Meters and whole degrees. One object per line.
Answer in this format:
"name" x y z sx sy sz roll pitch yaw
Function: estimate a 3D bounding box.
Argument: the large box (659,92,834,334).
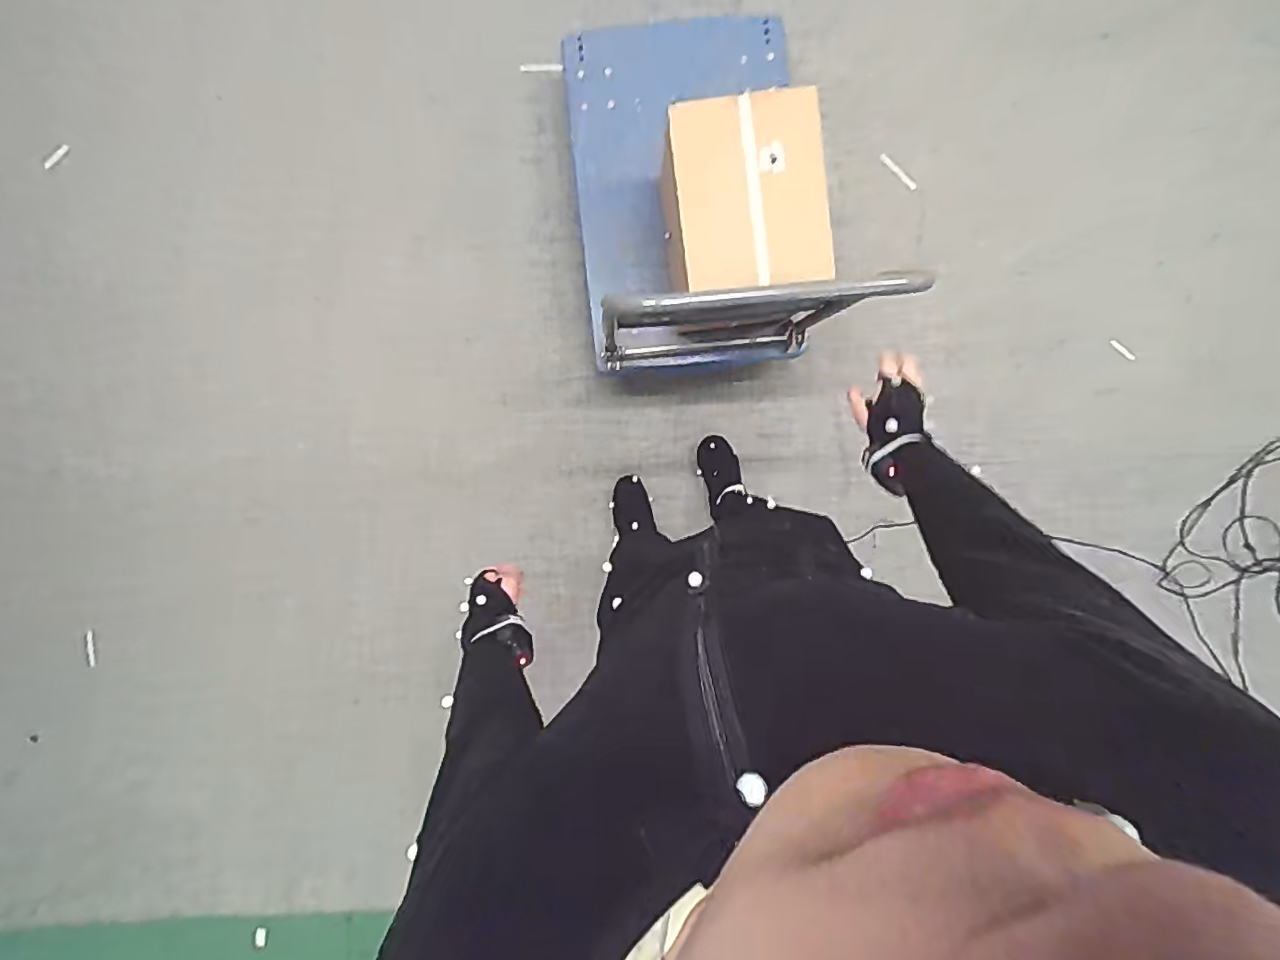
"large box" 0.229 -0.595 1.278 0.320 0.320 0.408 -8 93 -2
